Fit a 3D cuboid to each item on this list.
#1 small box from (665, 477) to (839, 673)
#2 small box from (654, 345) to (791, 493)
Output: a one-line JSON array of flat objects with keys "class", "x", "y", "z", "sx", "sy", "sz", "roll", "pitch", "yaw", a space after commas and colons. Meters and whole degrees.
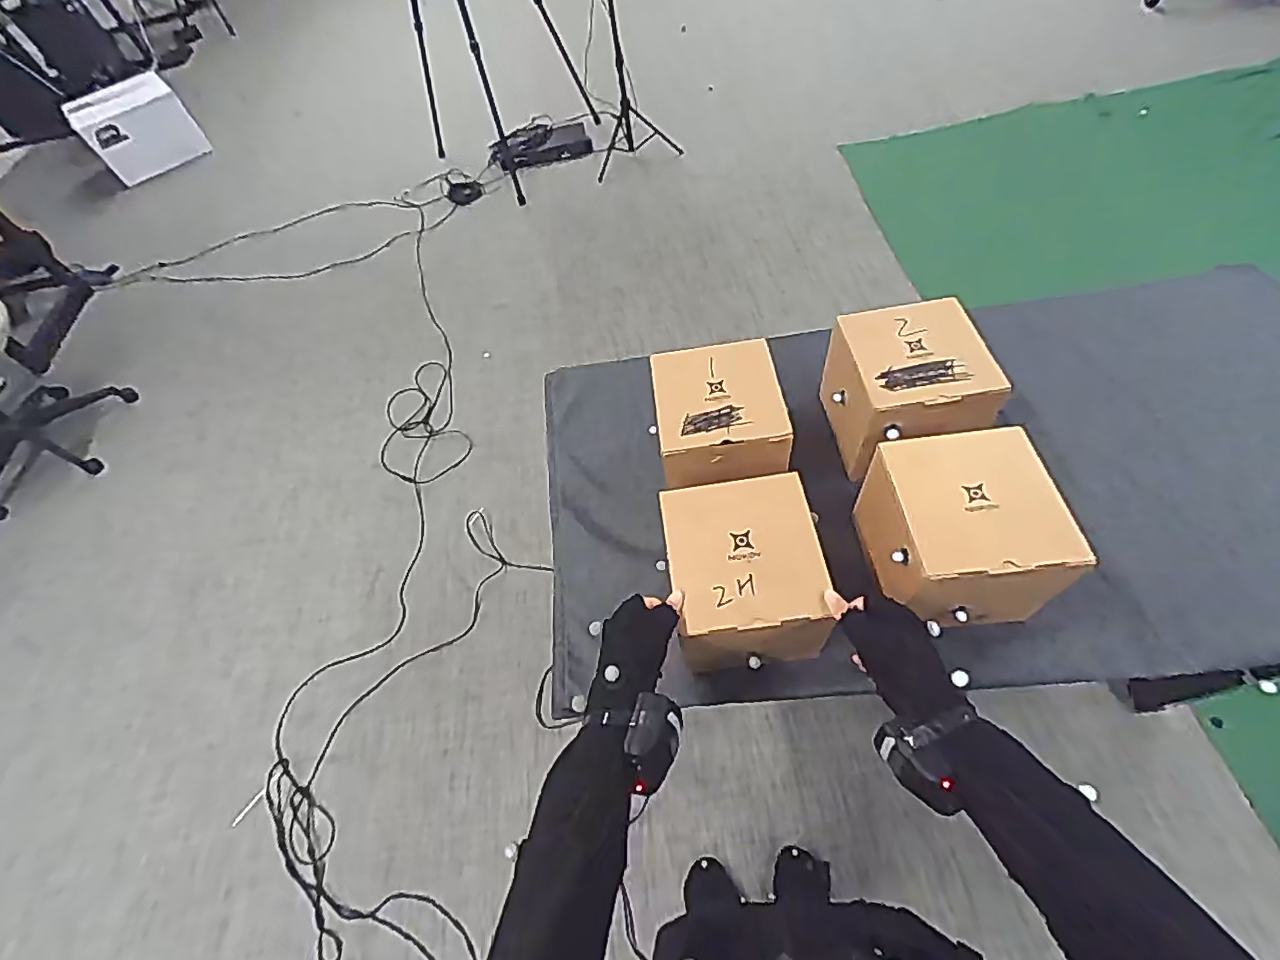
[{"class": "small box", "x": 0.125, "y": 0.121, "z": 0.663, "sx": 0.168, "sy": 0.176, "sz": 0.179, "roll": -9, "pitch": 58, "yaw": 4}, {"class": "small box", "x": 0.116, "y": -0.065, "z": 0.788, "sx": 0.168, "sy": 0.176, "sz": 0.179, "roll": -7, "pitch": 56, "yaw": 4}]
